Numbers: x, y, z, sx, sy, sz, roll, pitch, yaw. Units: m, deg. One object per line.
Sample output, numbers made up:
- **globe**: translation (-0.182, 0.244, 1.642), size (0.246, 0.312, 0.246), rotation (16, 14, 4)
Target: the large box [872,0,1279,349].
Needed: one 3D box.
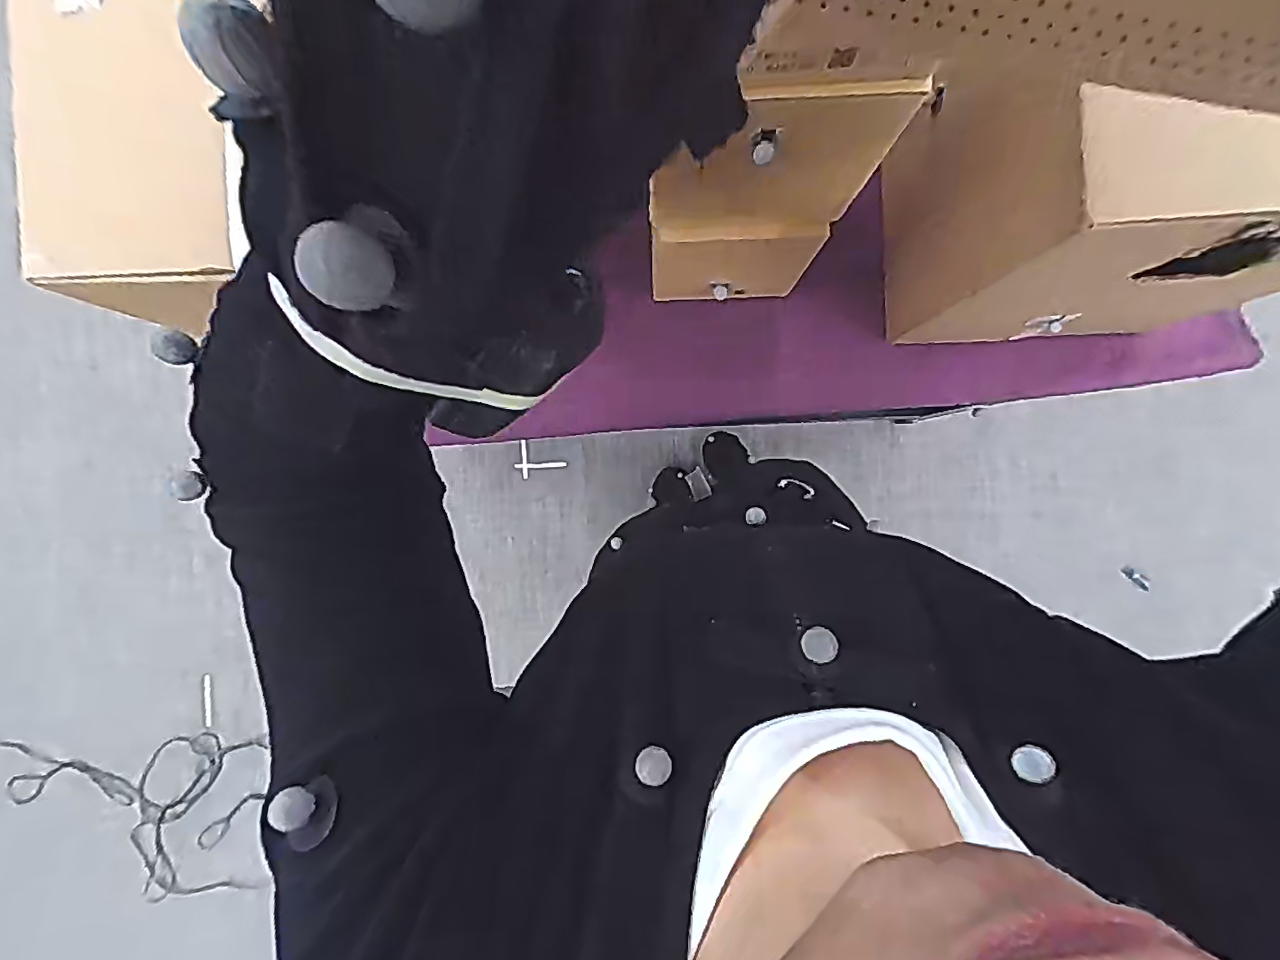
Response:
- **large box**: translation (0.434, -0.365, 0.502), size (0.320, 0.320, 0.408), rotation (-3, 89, 2)
